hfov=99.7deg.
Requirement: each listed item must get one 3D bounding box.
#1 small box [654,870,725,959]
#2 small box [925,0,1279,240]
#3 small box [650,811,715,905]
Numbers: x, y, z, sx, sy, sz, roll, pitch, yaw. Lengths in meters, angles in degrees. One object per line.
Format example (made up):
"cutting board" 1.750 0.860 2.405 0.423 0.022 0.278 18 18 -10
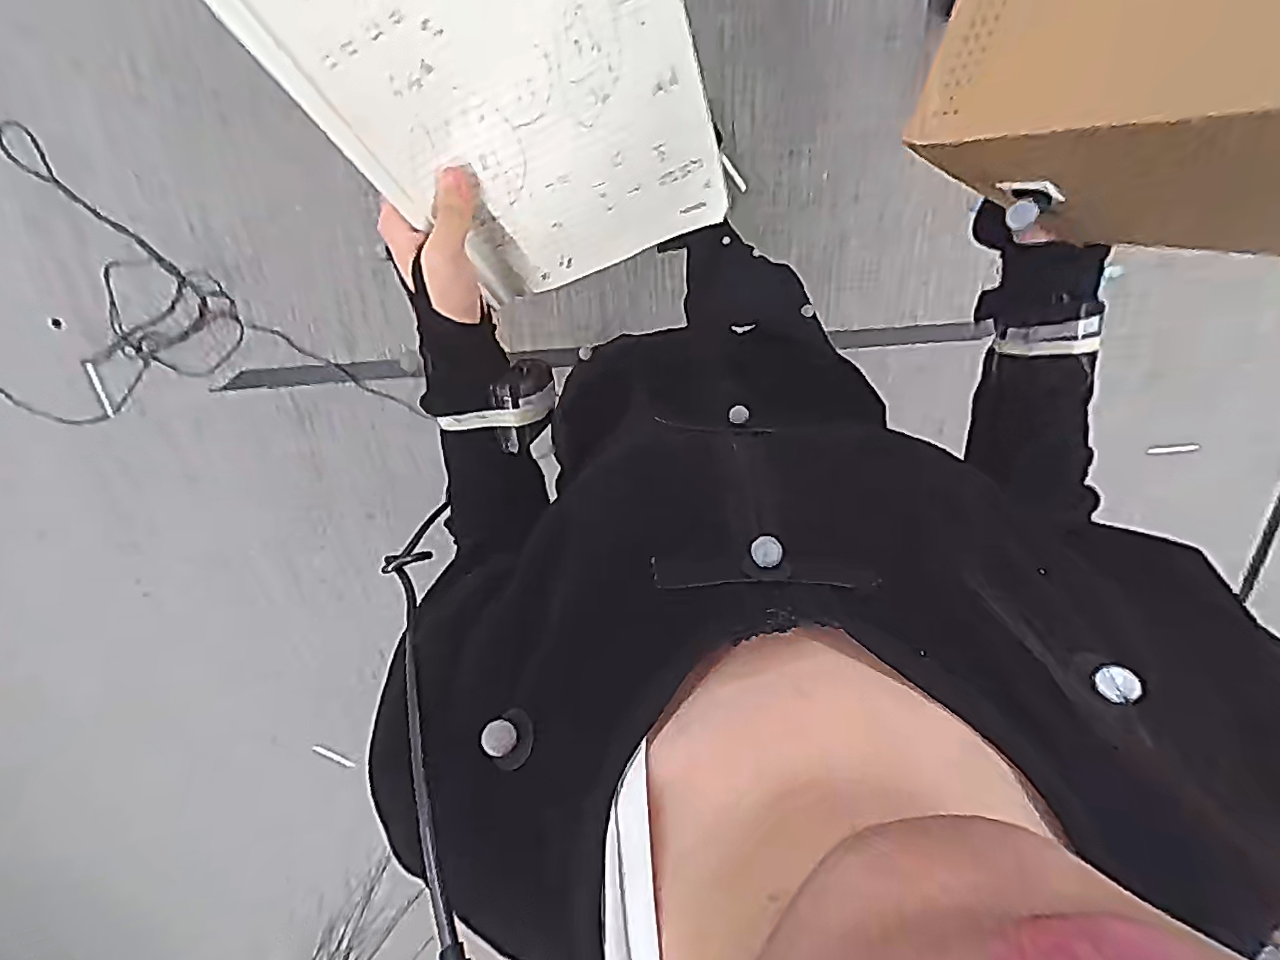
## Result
"small box" 0.126 1.171 1.434 0.168 0.176 0.179 -2 112 -2
"small box" 0.264 -0.217 0.227 0.168 0.176 0.179 7 114 -24
"small box" 0.118 1.099 1.581 0.168 0.176 0.179 0 113 -3
